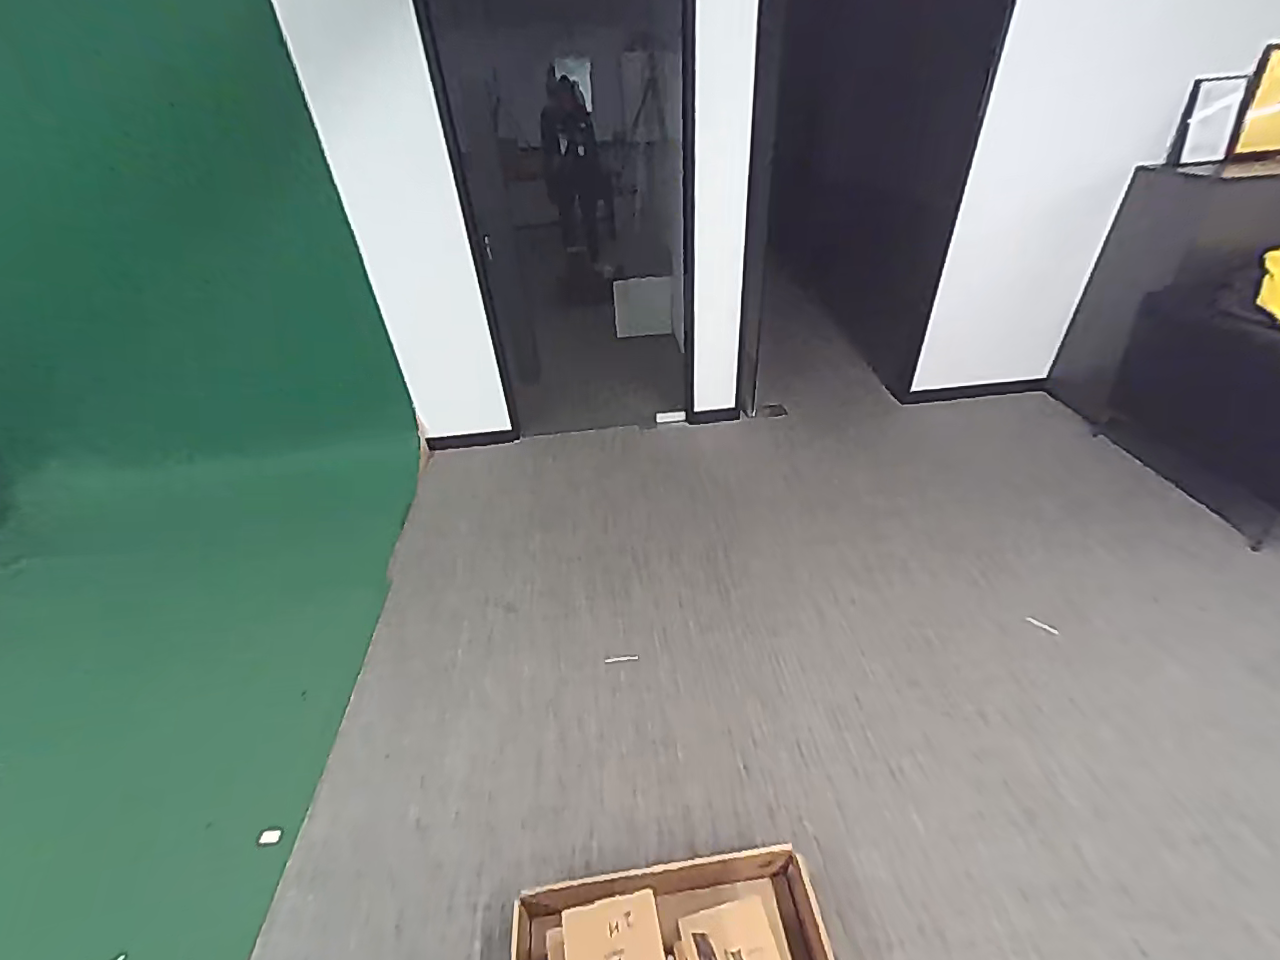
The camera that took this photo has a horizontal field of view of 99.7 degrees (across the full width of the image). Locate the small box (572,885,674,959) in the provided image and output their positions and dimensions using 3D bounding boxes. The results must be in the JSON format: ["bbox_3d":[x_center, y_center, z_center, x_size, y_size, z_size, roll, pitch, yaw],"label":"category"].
[{"bbox_3d":[-0.023,0.857,0.952,0.168,0.176,0.179,-8,39,-8],"label":"small box"}]

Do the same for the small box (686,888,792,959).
[{"bbox_3d":[0.198,0.953,1.069,0.179,0.176,0.168,-11,39,-8],"label":"small box"}]
